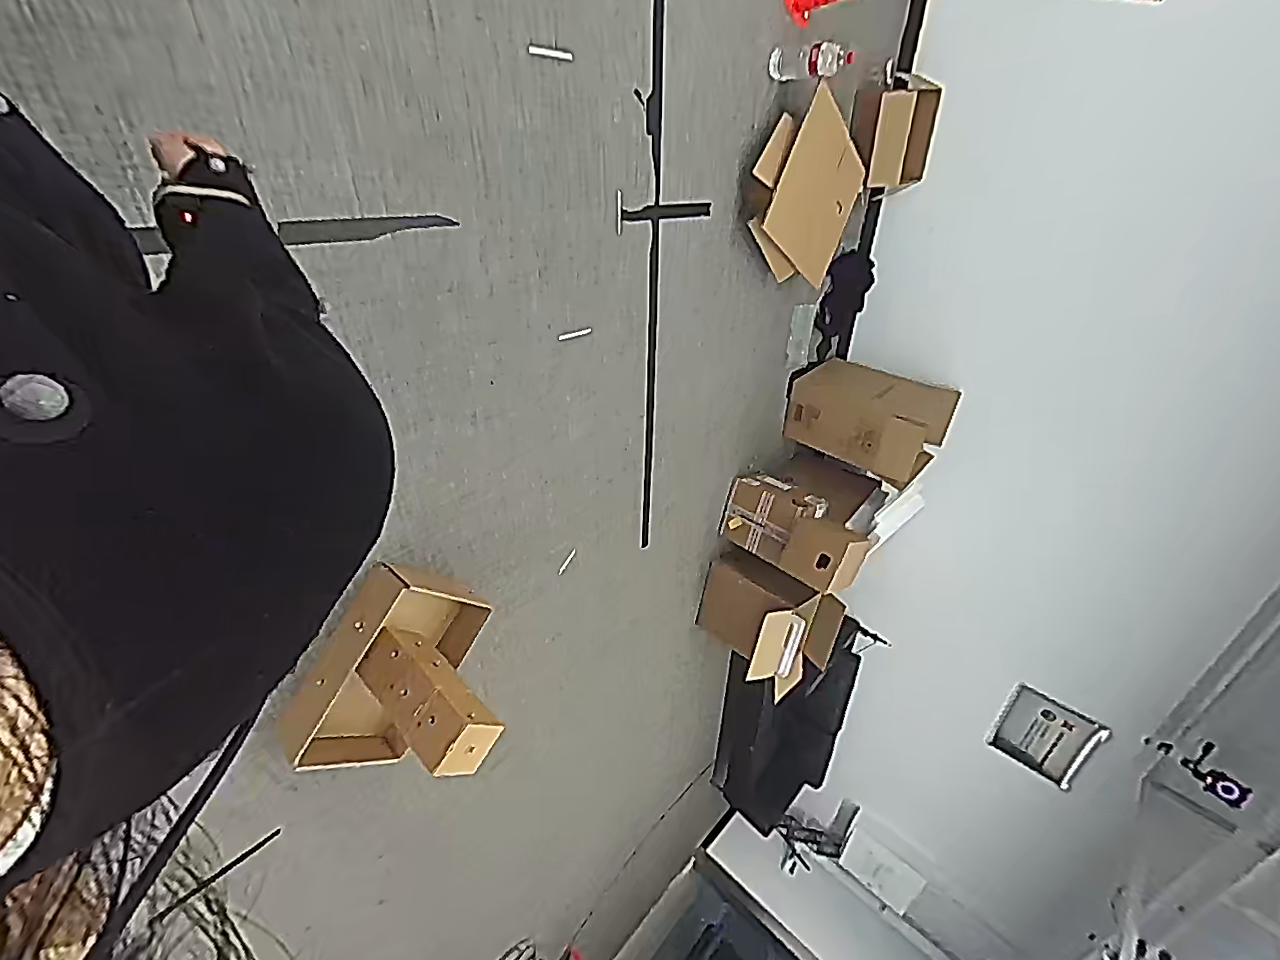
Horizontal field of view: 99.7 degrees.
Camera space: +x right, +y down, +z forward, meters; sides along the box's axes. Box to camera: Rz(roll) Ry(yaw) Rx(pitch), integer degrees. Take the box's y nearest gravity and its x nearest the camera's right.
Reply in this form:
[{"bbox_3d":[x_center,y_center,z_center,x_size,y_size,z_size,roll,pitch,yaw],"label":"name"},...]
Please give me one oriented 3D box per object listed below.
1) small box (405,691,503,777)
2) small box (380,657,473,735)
[{"bbox_3d":[-0.551,0.748,1.603,0.168,0.176,0.179,-57,145,-8],"label":"small box"},{"bbox_3d":[-0.670,0.678,1.689,0.168,0.176,0.179,-56,145,-8],"label":"small box"}]
